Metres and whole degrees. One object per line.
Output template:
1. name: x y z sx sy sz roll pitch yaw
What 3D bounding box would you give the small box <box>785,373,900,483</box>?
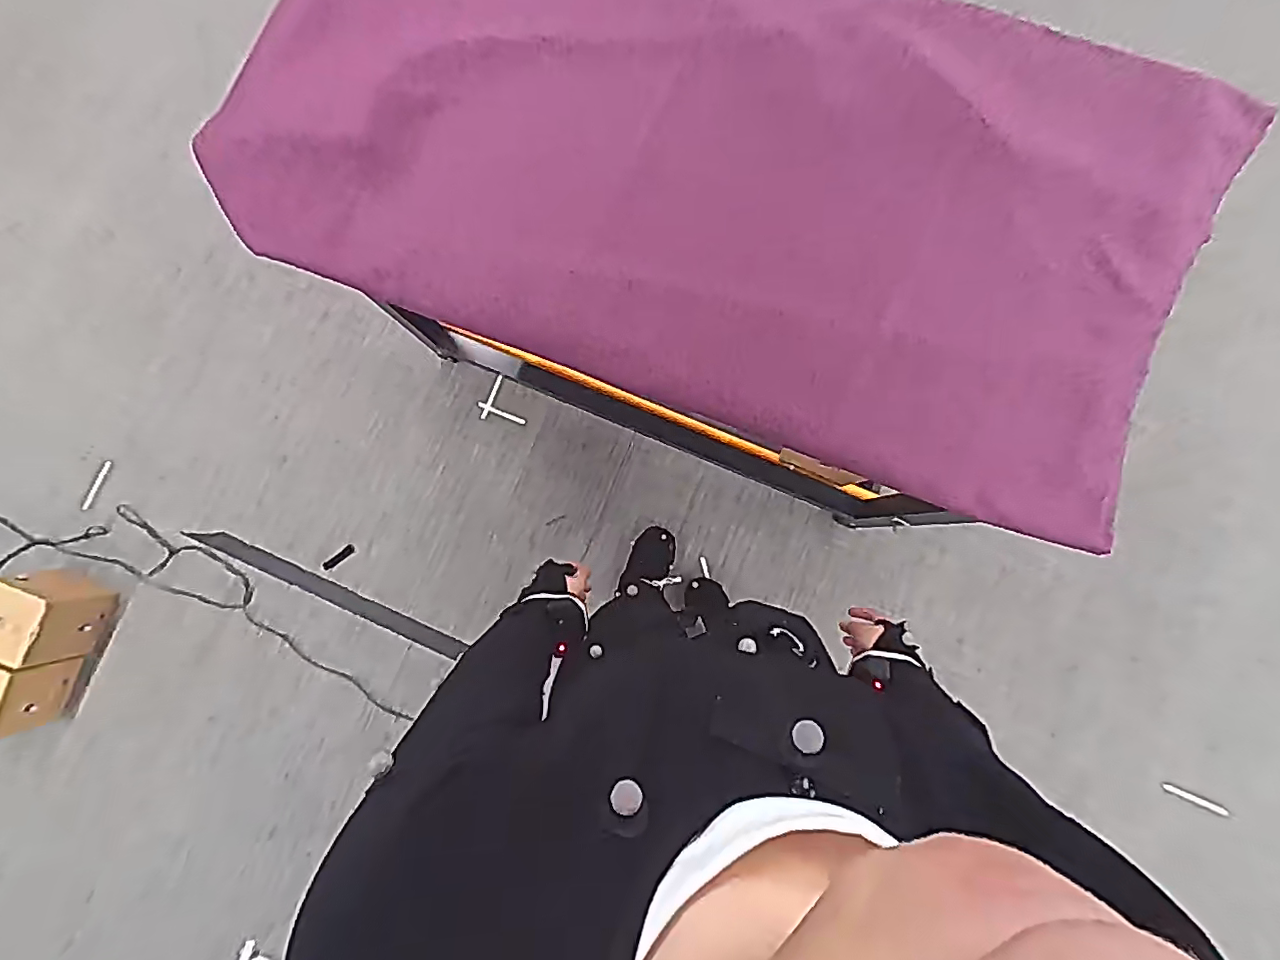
1. small box: 0.436 -0.105 1.197 0.168 0.176 0.179 23 85 4
